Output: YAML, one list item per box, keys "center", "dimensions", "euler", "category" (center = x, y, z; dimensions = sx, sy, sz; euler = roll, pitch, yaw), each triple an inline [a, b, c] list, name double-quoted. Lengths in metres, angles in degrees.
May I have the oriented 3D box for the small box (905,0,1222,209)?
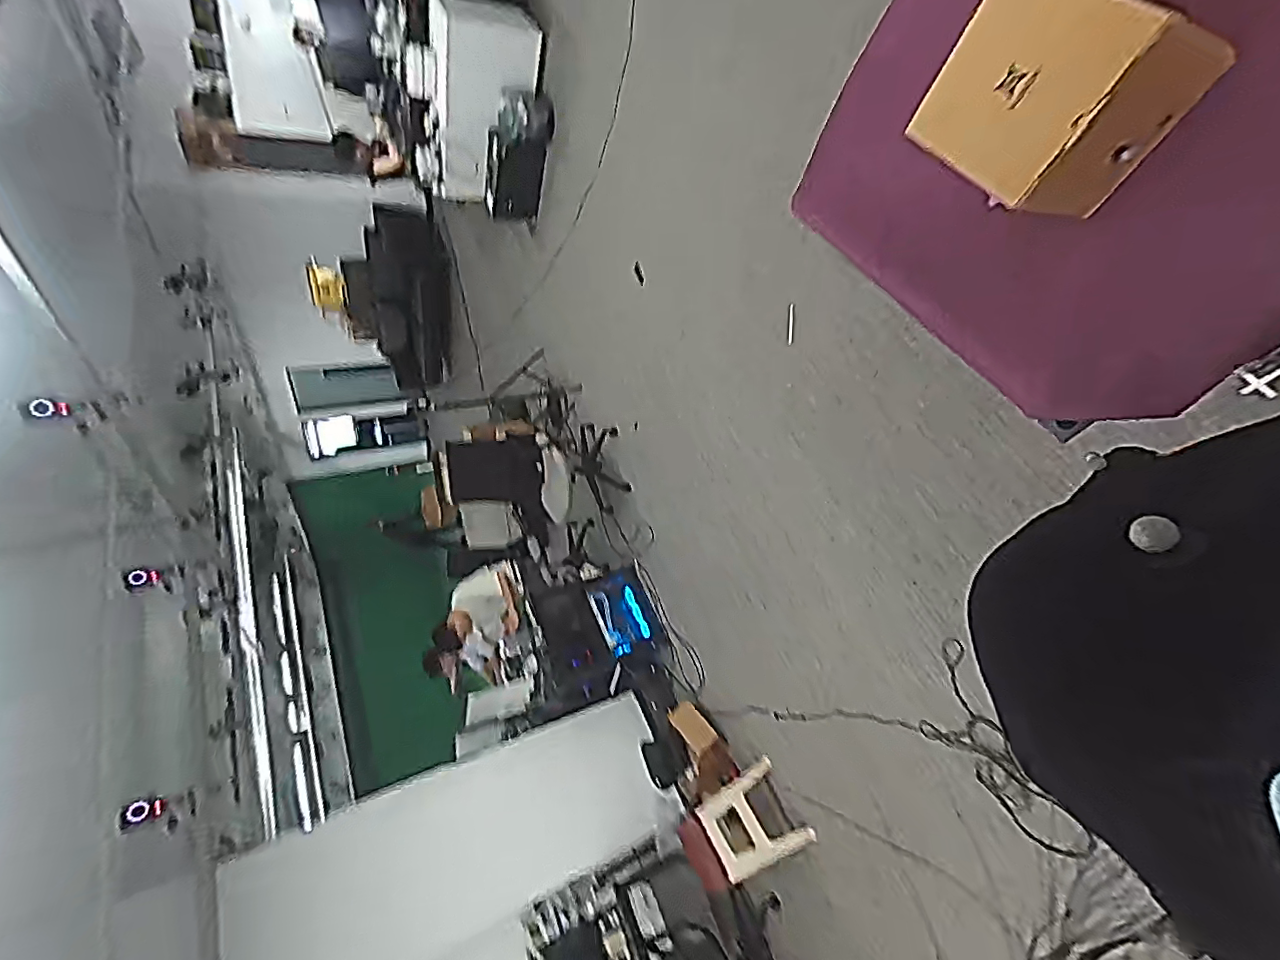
- center: [0.442, -0.412, 0.582]
  dimensions: [0.179, 0.176, 0.168]
  euler: [60, 147, 28]
  category: "small box"
